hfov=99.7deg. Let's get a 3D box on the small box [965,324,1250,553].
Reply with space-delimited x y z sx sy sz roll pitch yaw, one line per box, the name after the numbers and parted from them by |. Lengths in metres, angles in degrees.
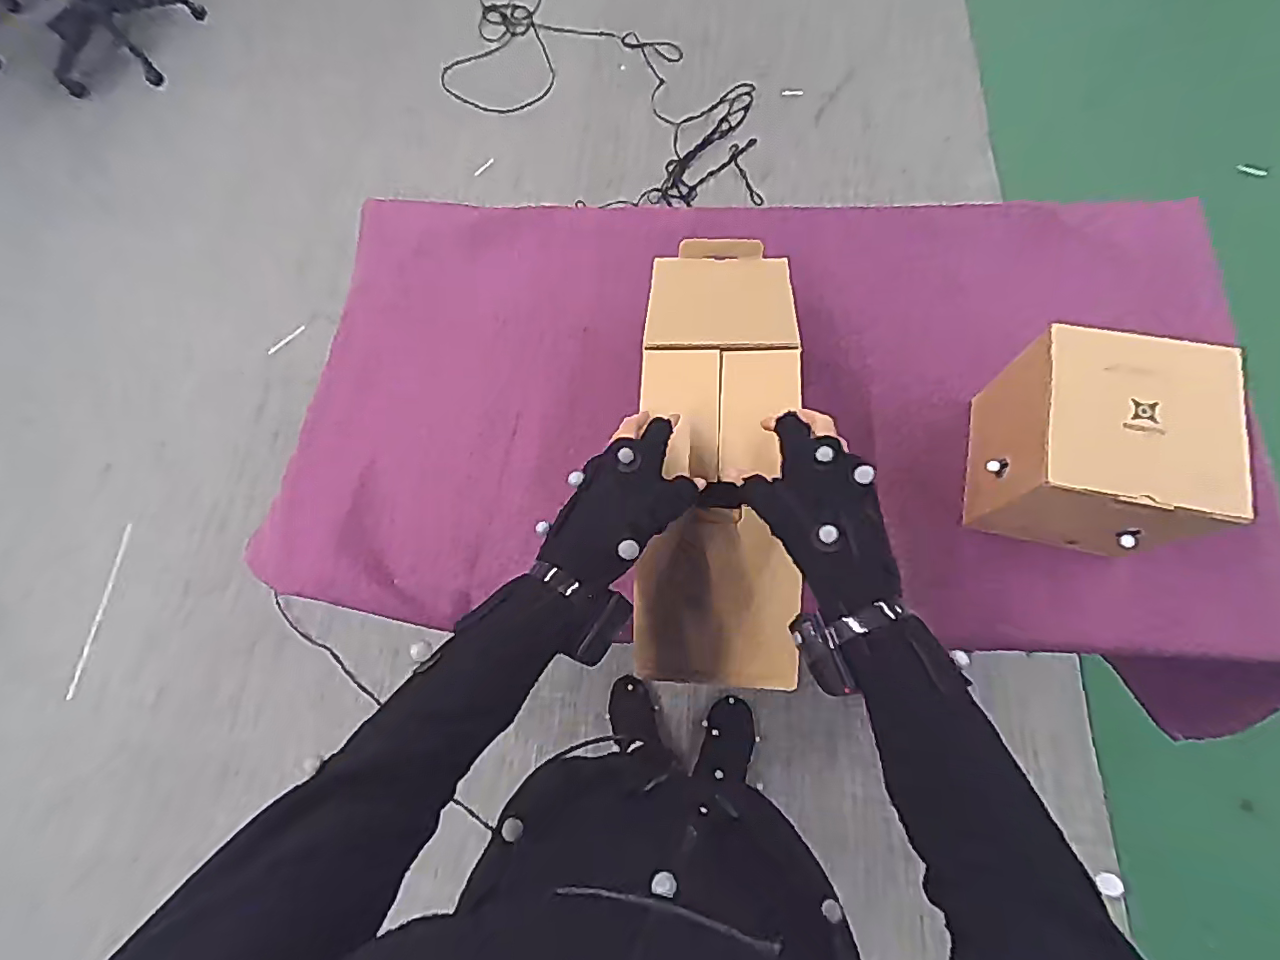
0.471 -0.033 0.574 0.168 0.176 0.179 12 73 10 | small box
